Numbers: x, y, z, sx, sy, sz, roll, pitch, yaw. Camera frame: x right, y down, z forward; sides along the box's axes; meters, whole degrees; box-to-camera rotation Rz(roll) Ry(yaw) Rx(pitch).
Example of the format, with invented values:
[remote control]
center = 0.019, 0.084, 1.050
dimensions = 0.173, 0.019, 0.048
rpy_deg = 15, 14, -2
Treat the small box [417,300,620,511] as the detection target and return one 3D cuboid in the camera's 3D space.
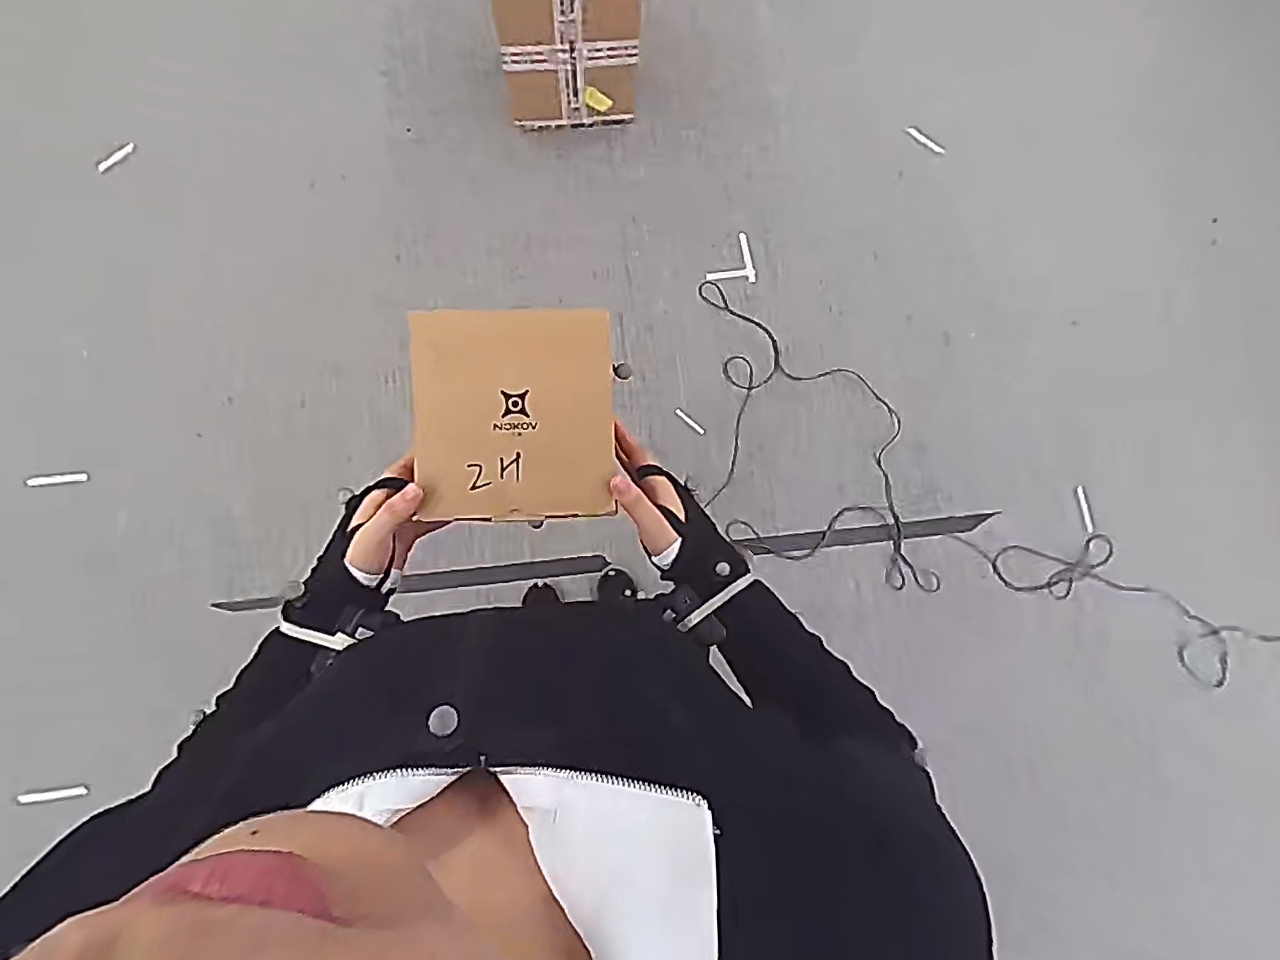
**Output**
[small box]
center = -0.104, -0.060, 0.525
dimensions = 0.168, 0.176, 0.179
rpy_deg = -1, 90, -3
